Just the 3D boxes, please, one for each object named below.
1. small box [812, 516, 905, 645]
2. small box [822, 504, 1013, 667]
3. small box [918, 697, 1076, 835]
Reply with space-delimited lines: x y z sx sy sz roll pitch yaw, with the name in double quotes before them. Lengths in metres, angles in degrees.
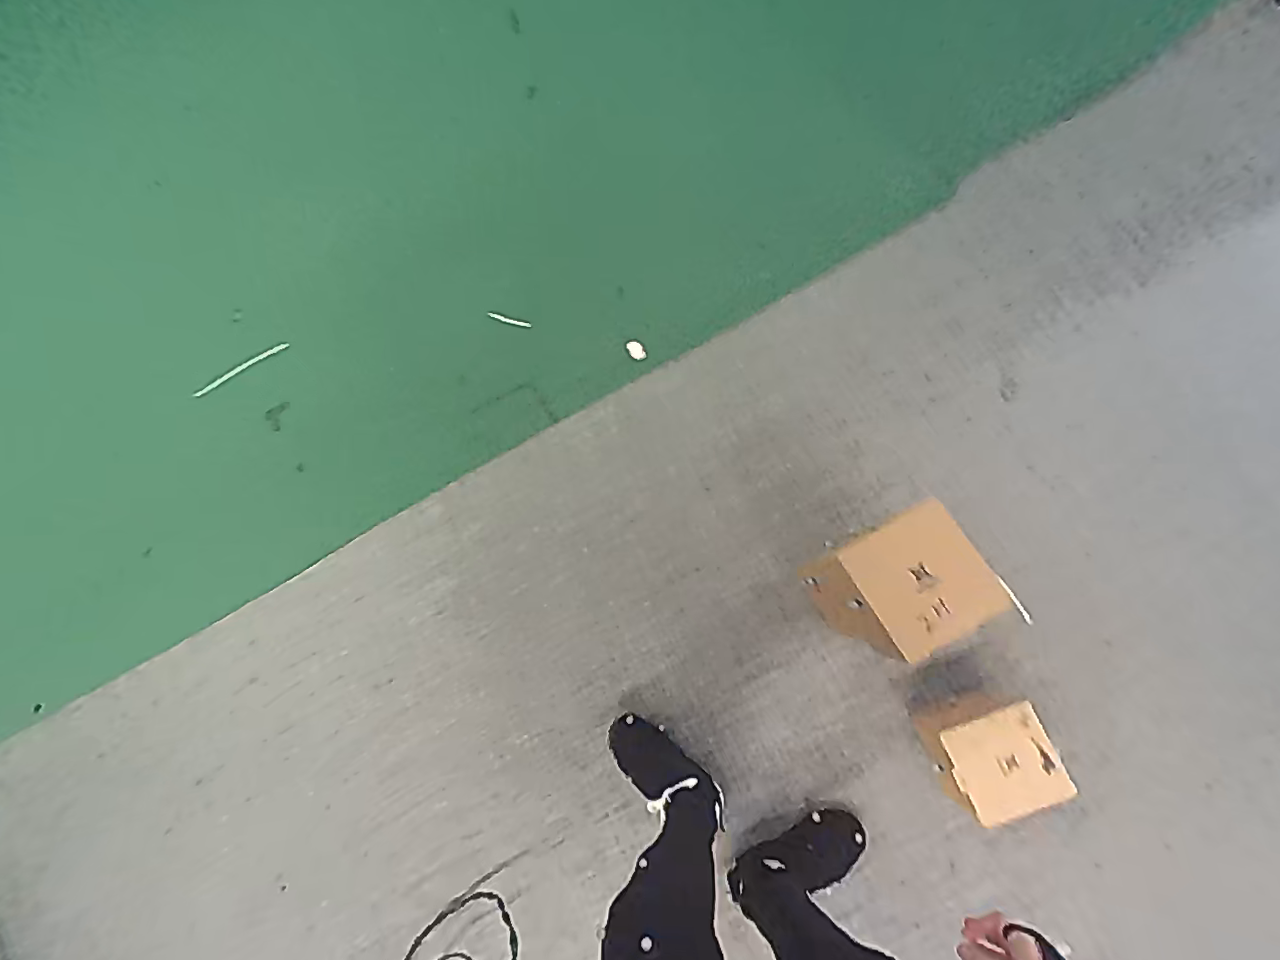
"small box" 0.433 0.190 0.986 0.179 0.176 0.168 -31 75 -1
"small box" 0.403 0.163 0.826 0.168 0.176 0.179 -30 75 1
"small box" 0.663 0.537 1.037 0.179 0.176 0.168 -22 75 4
